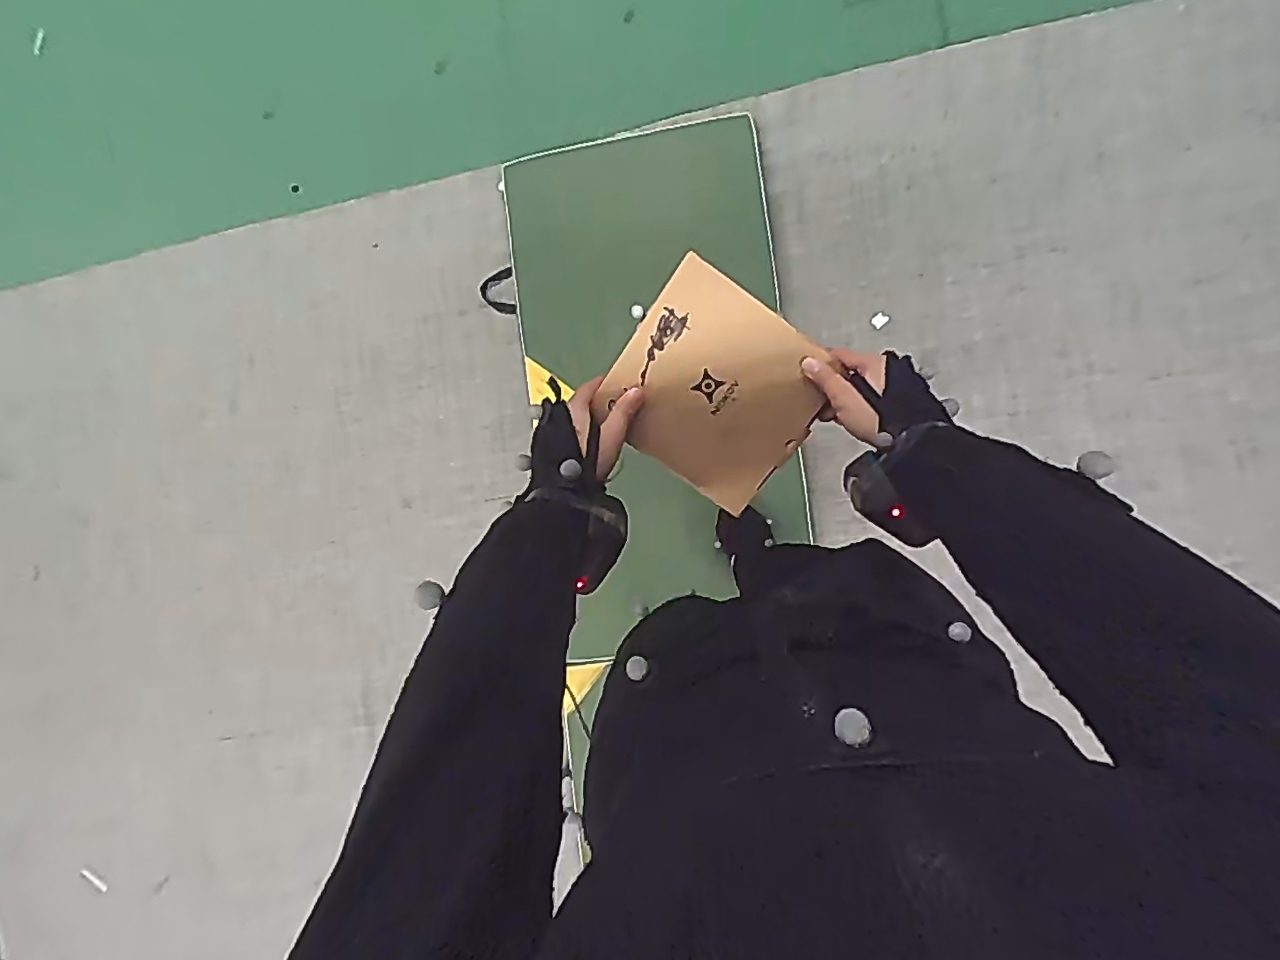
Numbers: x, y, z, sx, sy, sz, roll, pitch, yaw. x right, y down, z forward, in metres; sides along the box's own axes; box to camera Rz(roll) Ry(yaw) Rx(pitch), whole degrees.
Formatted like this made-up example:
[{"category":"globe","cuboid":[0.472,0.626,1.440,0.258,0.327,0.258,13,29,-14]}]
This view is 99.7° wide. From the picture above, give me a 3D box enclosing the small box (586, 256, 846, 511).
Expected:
[{"category":"small box","cuboid":[0.067,-0.101,0.556,0.179,0.176,0.168,34,103,-8]}]
